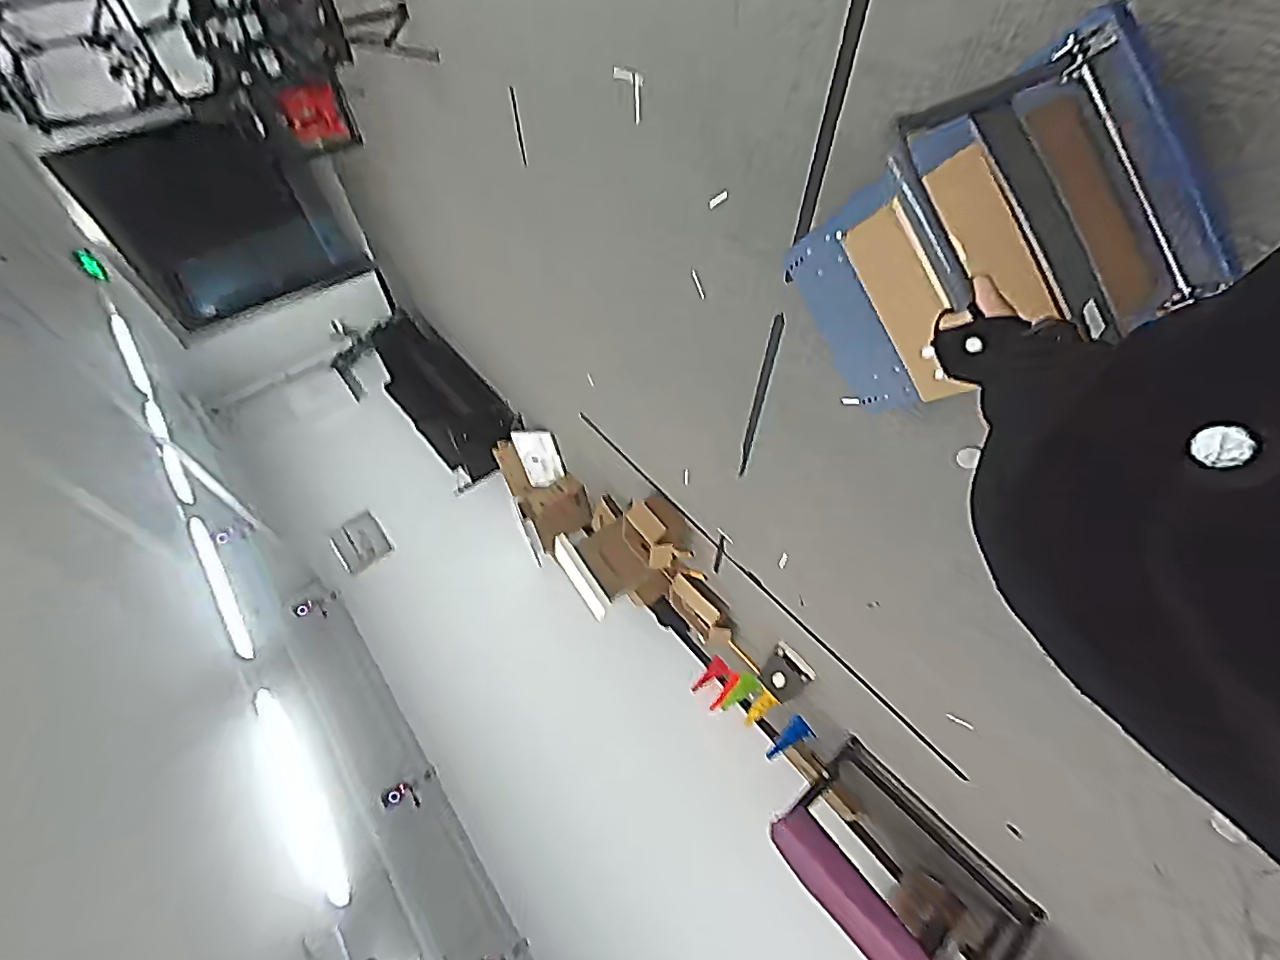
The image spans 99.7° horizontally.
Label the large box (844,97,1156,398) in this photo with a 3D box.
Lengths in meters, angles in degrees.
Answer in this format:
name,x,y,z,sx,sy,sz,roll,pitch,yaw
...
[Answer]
name,x,y,z,sx,sy,sz,roll,pitch,yaw
large box,0.702,-0.436,1.078,0.408,0.320,0.320,60,158,-7
